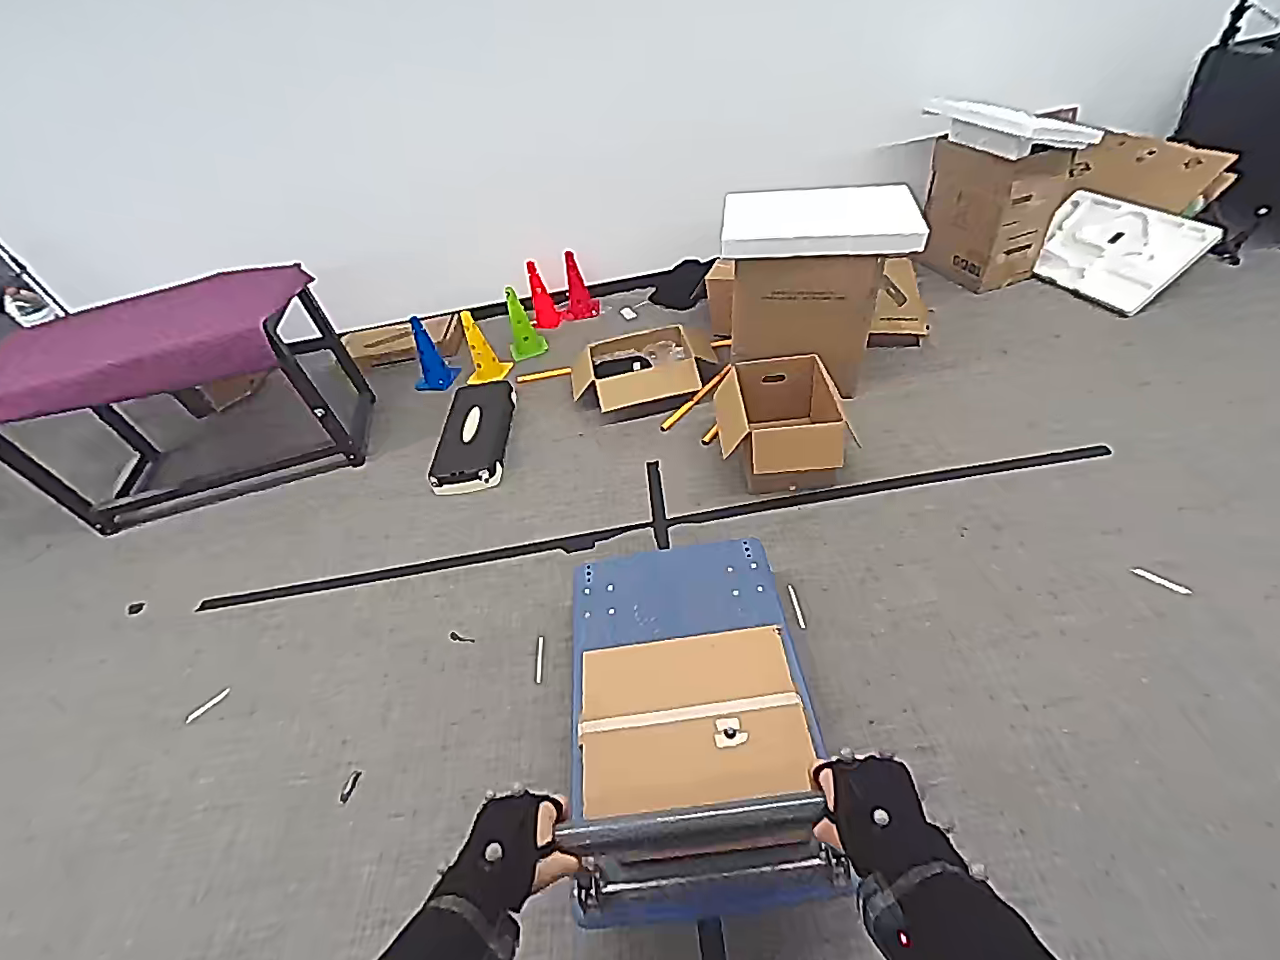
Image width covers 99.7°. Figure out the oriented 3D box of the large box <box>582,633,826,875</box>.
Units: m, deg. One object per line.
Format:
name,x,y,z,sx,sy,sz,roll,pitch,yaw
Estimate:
large box,0.110,0.547,1.078,0.408,0.320,0.320,-8,44,2
